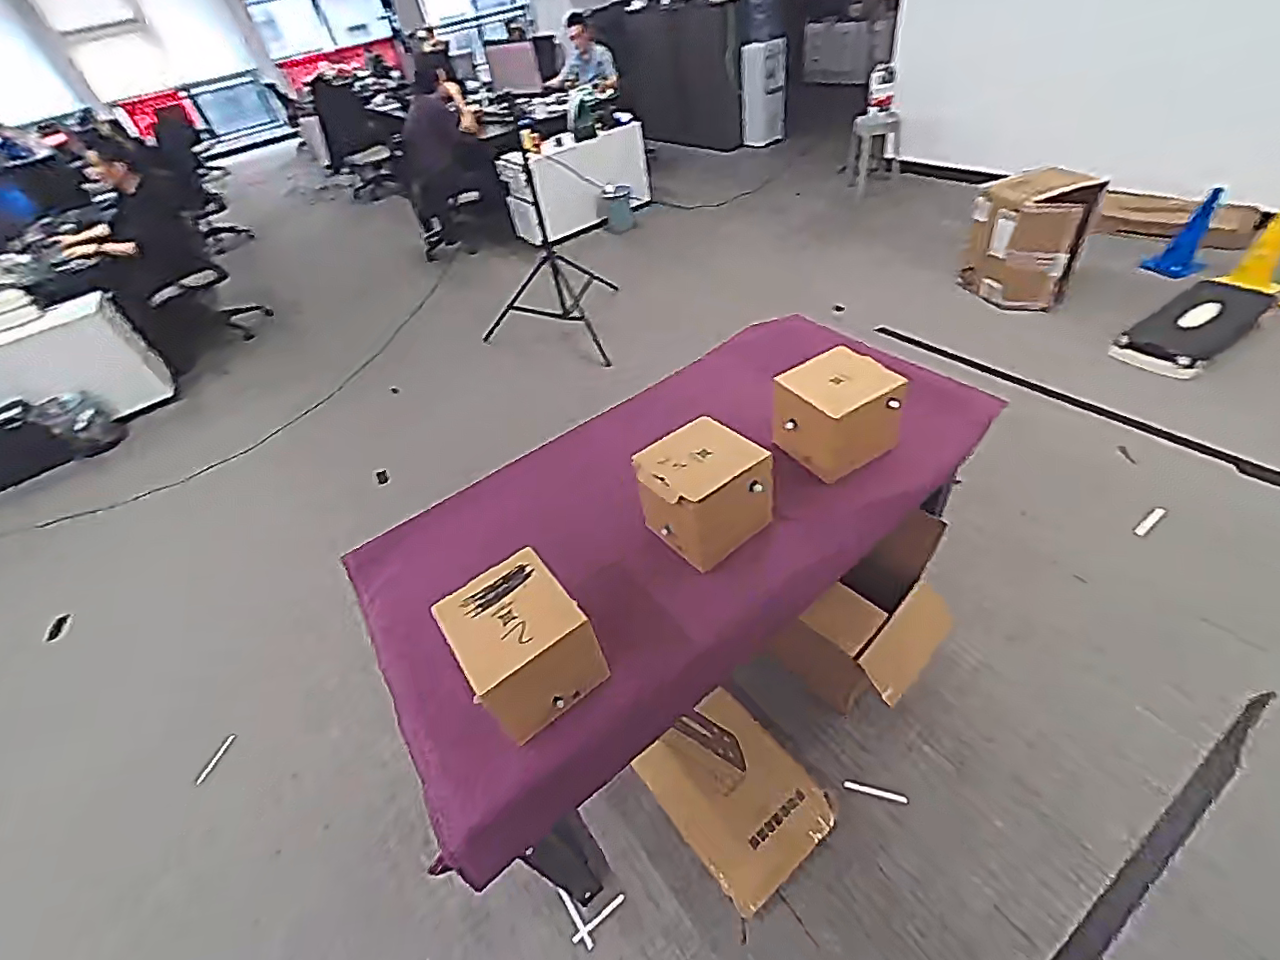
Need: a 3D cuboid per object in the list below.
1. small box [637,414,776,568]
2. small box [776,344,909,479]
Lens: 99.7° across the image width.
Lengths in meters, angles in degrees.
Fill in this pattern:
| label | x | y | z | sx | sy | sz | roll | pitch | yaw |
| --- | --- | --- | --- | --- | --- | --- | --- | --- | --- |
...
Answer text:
| label | x | y | z | sx | sy | sz | roll | pitch | yaw |
| --- | --- | --- | --- | --- | --- | --- | --- | --- | --- |
| small box | 0.120 | 0.018 | 0.957 | 0.179 | 0.176 | 0.168 | -33 | 45 | -20 |
| small box | 0.385 | -0.131 | 1.053 | 0.179 | 0.176 | 0.168 | -27 | 46 | -16 |
